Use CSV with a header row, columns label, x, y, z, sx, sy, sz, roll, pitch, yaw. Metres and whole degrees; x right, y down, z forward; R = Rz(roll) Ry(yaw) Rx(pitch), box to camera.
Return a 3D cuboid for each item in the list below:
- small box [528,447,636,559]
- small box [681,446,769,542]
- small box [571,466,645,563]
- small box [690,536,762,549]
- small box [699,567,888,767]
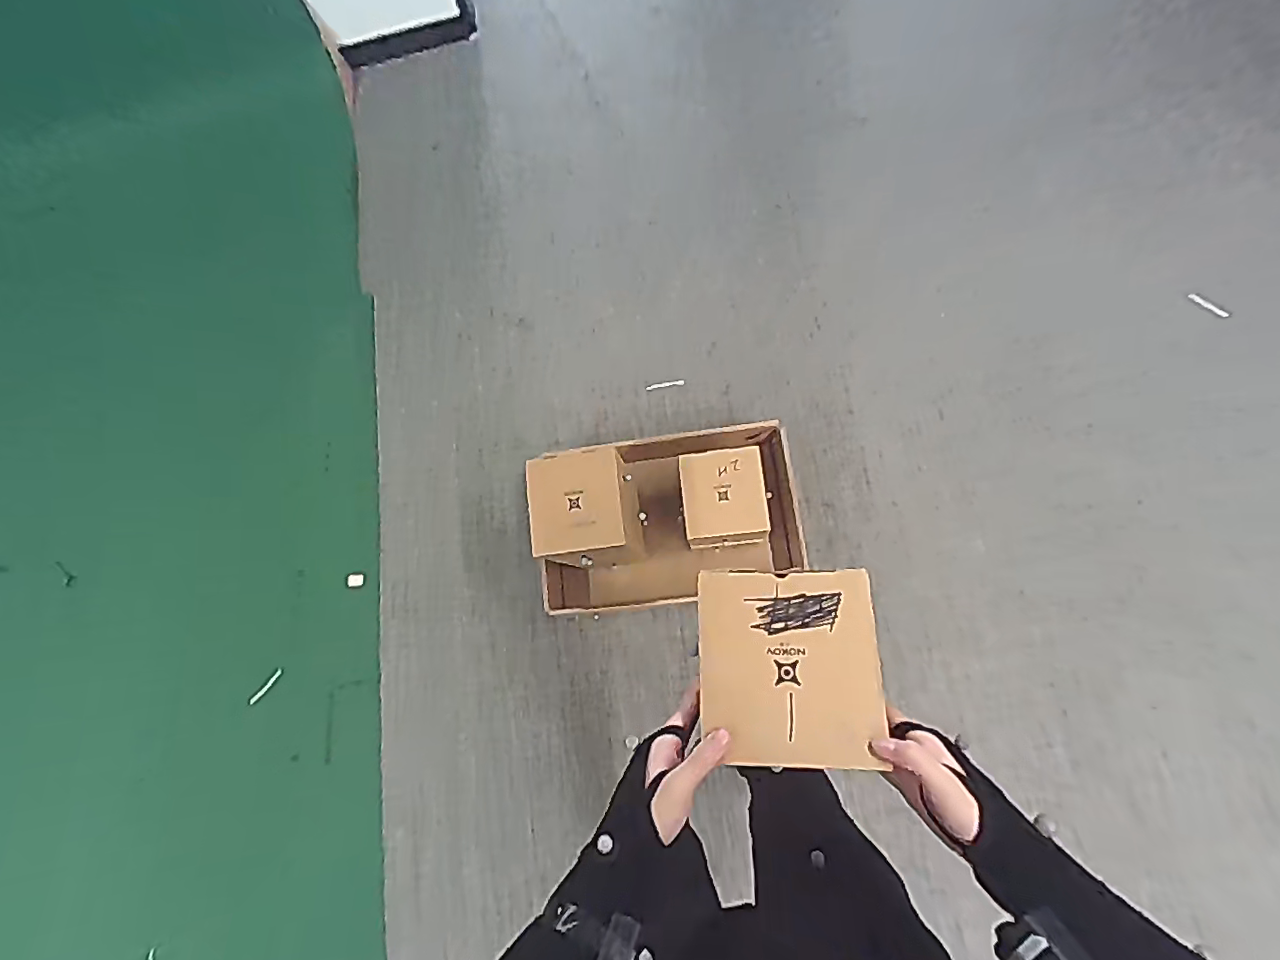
label,x,y,z,sx,sy,sz,roll,pitch,yaw
small box,-0.104,0.050,1.021,0.168,0.176,0.179,-8,78,5
small box,0.181,0.038,1.155,0.168,0.176,0.179,-6,77,7
small box,-0.086,0.082,1.180,0.168,0.176,0.179,-8,77,6
small box,0.203,0.074,1.315,0.168,0.176,0.179,-6,77,7
small box,0.147,0.196,0.580,0.168,0.176,0.179,-1,69,8
